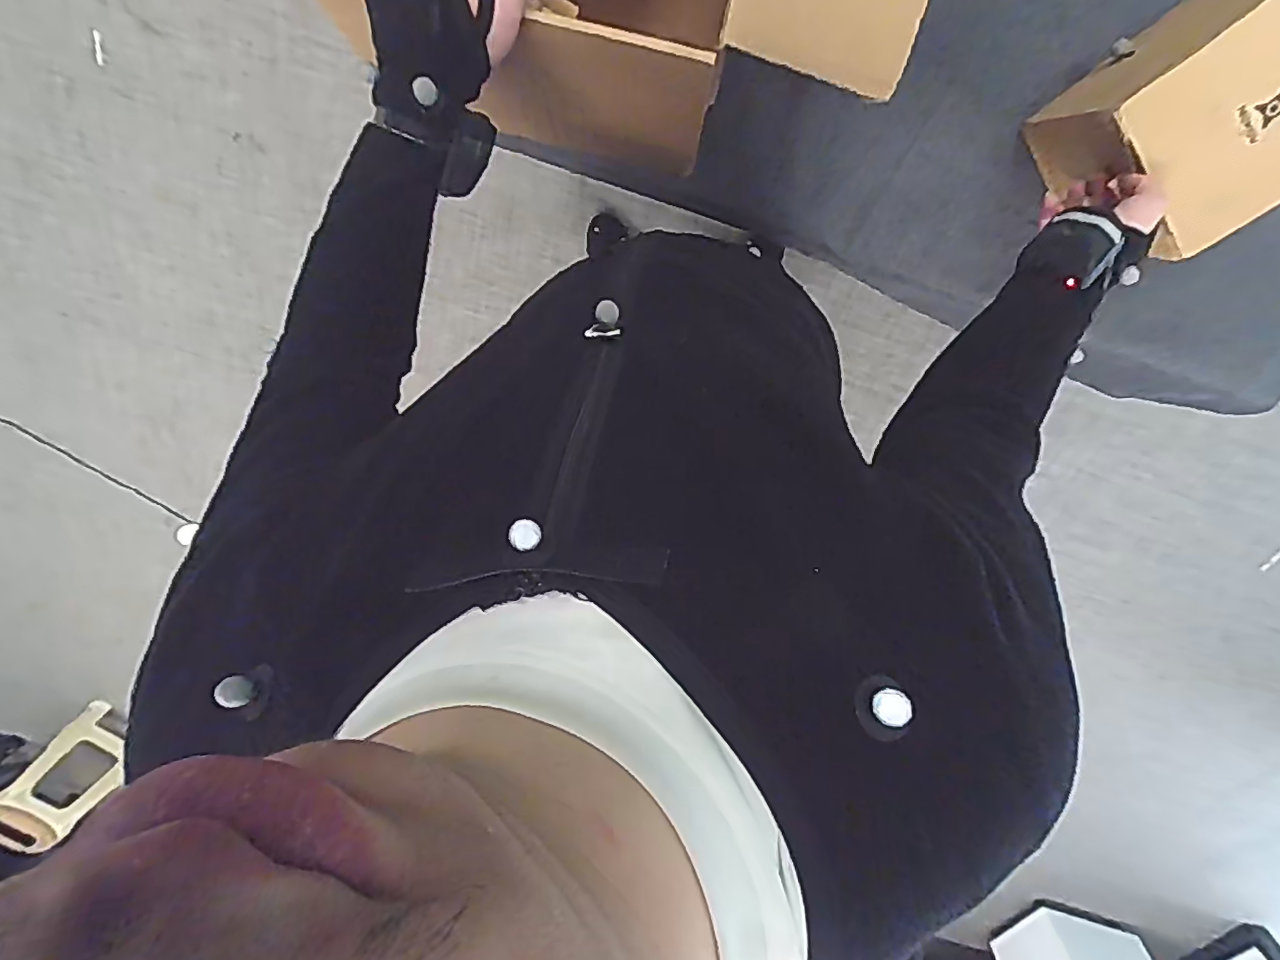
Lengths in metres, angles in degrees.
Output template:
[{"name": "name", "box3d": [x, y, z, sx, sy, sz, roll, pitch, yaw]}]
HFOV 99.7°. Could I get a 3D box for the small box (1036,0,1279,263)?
[{"name": "small box", "box3d": [0.545, -0.351, 0.545, 0.179, 0.176, 0.168, -35, 109, 23]}]
